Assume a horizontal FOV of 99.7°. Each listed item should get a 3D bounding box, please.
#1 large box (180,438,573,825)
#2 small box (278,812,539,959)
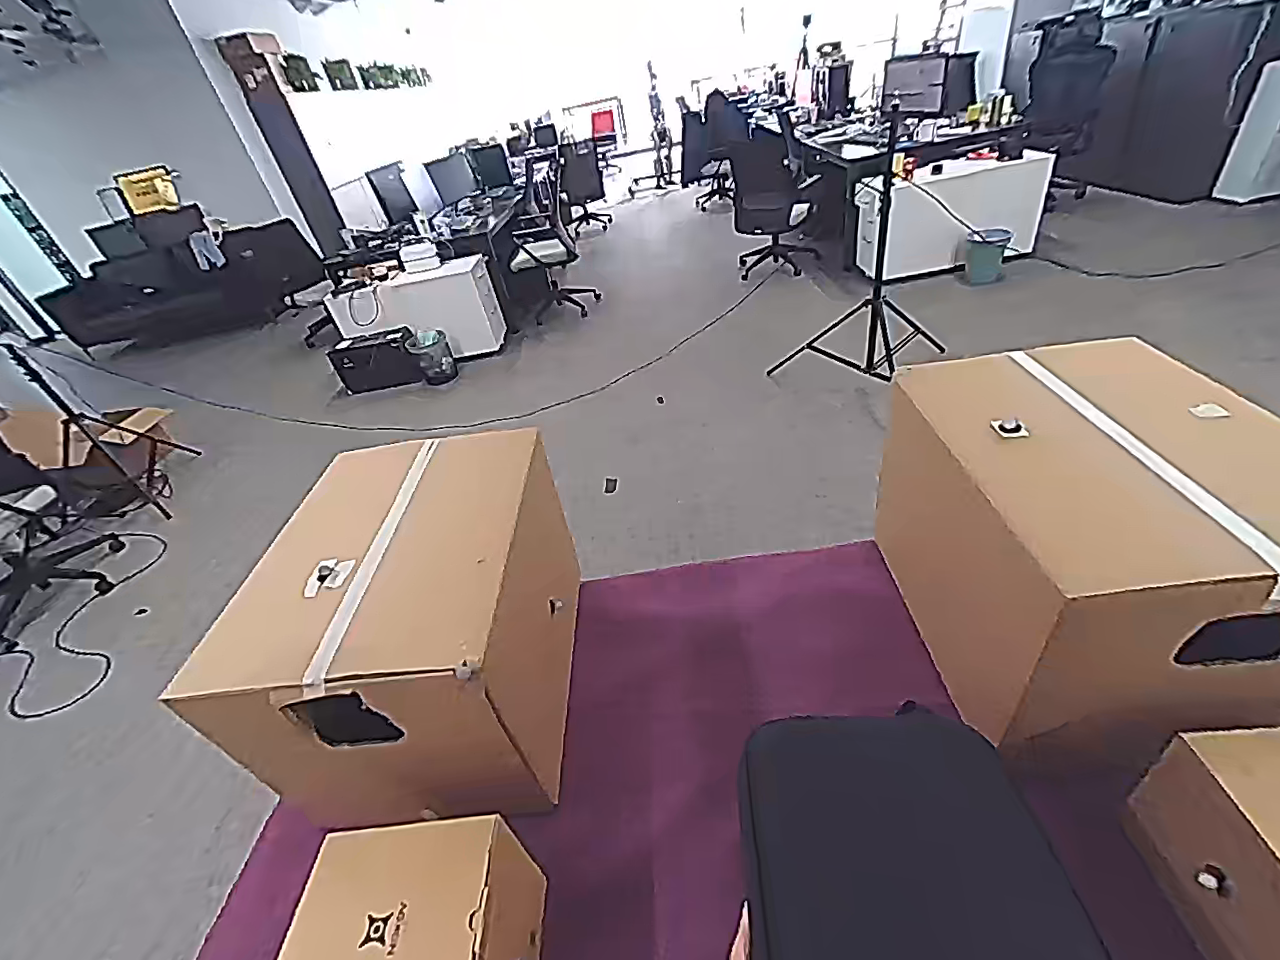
[{"bbox_3d":[-0.279,0.193,0.751,0.320,0.320,0.408,-8,39,4],"label":"large box"},{"bbox_3d":[-0.210,0.448,0.512,0.179,0.176,0.168,-9,35,3],"label":"small box"}]
